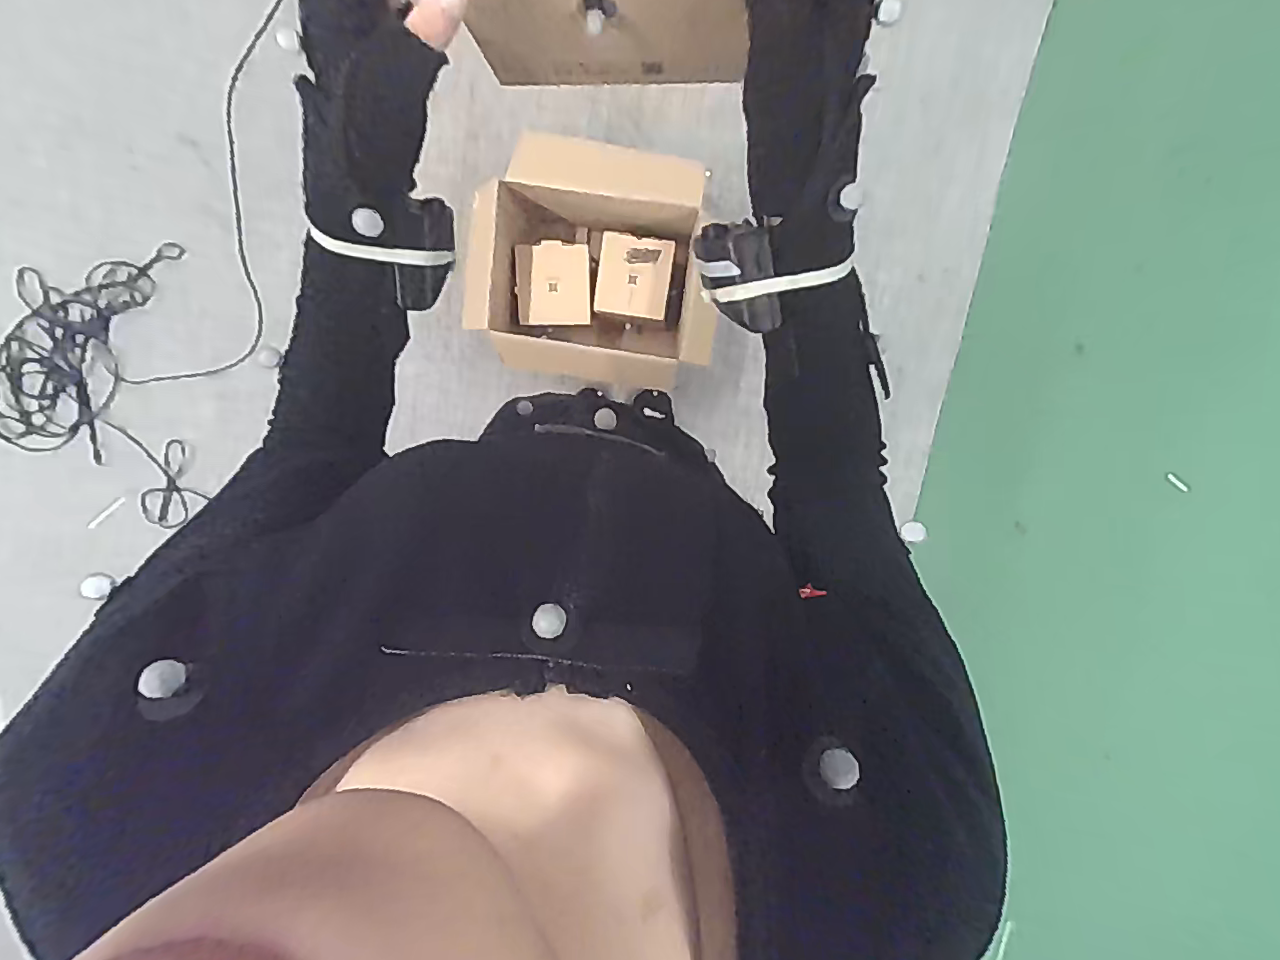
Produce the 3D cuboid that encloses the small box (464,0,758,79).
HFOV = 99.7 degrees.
[{"bbox_3d":[-0.015,-0.336,0.270,0.168,0.176,0.179,1,100,2],"label":"small box"}]
